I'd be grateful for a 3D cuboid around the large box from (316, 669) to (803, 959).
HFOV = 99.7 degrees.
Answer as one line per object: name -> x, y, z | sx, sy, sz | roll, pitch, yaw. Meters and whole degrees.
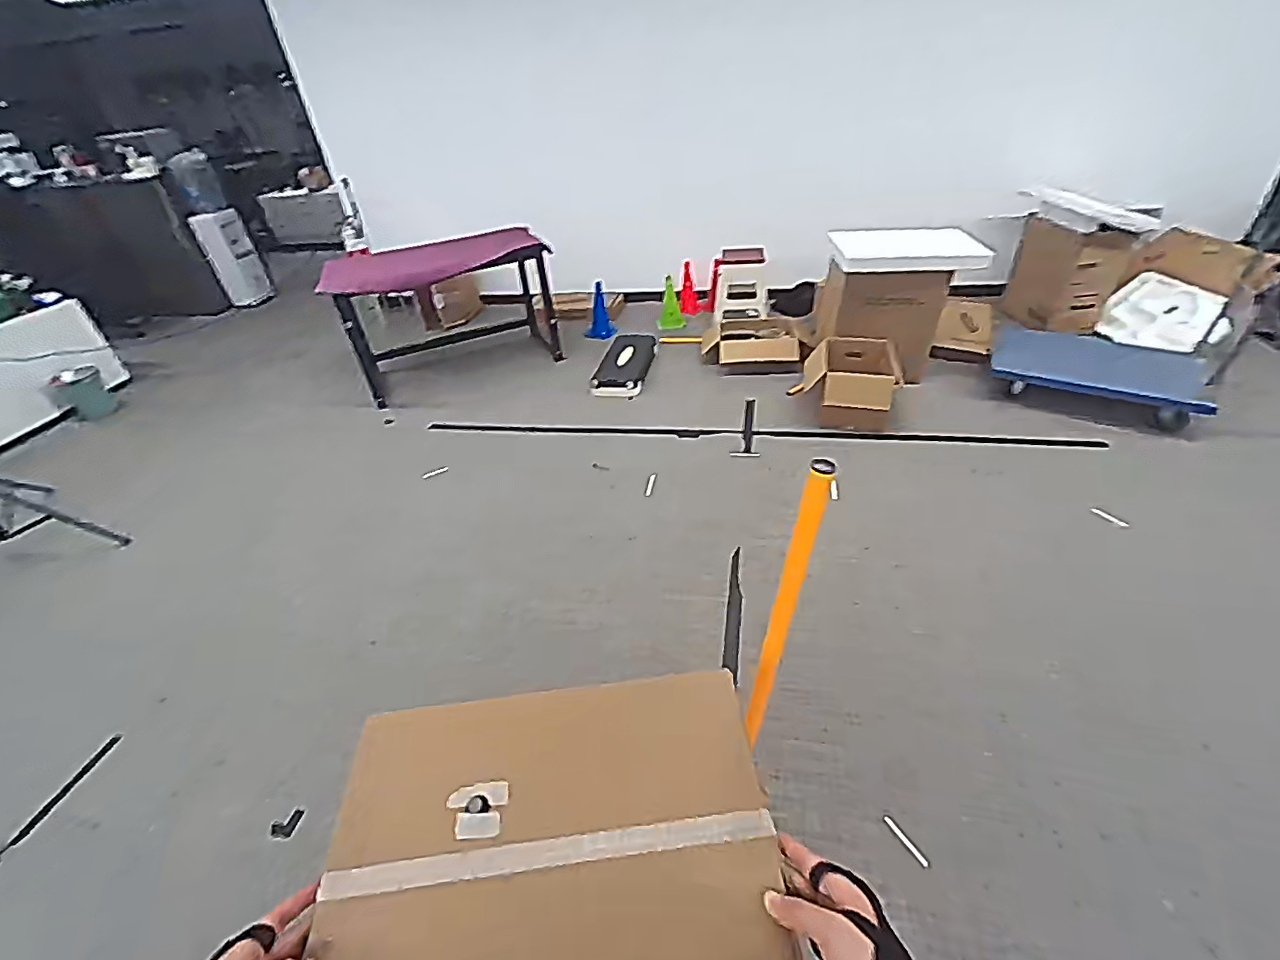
large box -> -0.068, 0.455, 0.596 | 0.408, 0.320, 0.320 | -8, 41, -3
